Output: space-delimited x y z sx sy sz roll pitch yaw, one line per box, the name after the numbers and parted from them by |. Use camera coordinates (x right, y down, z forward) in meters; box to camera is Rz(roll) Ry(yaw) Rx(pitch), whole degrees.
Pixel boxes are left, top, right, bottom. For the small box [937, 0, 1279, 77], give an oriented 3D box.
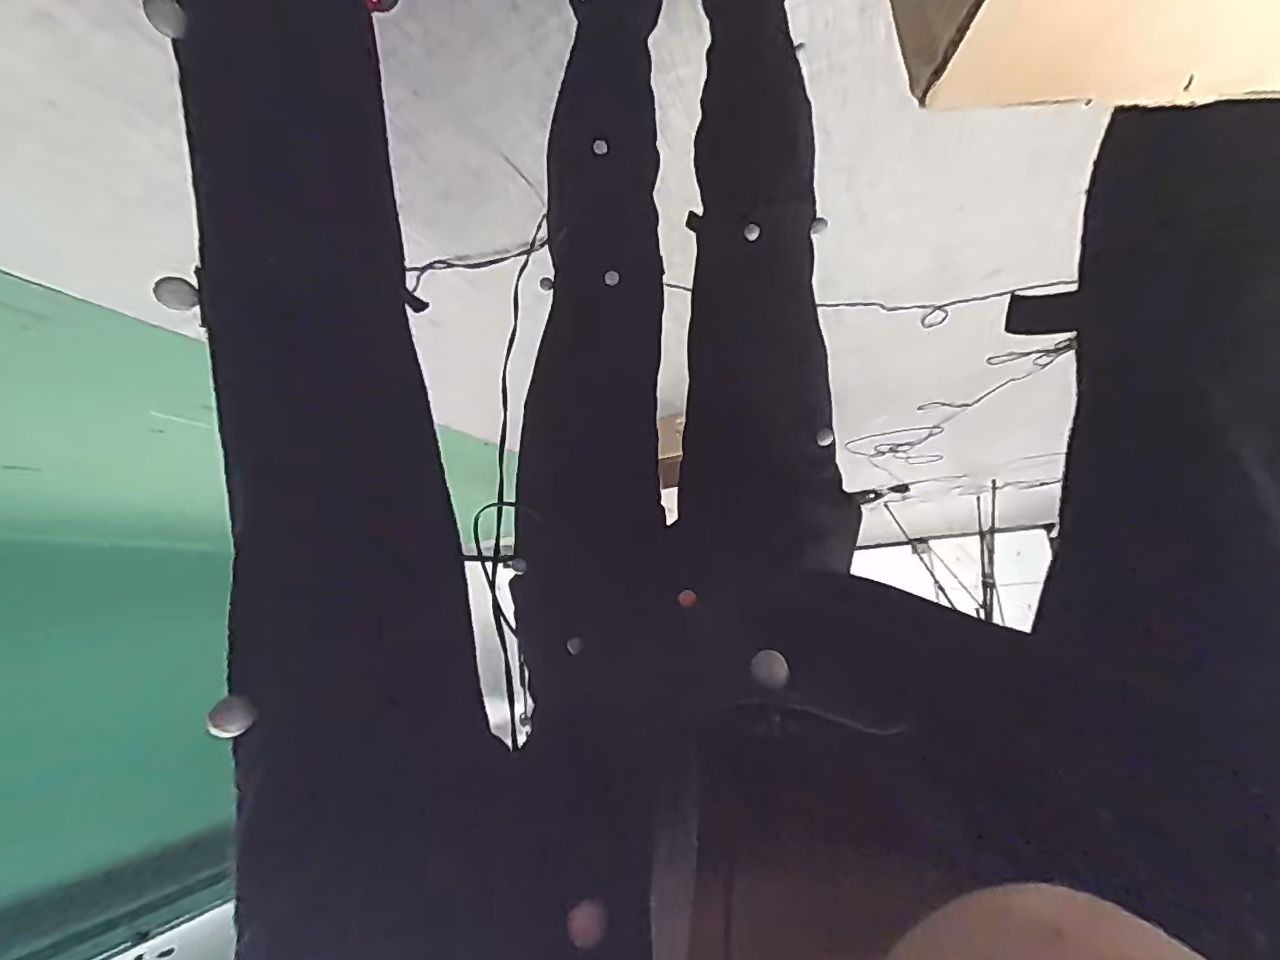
0.166 -0.232 0.109 0.168 0.176 0.179 -4 167 -2 | small box
